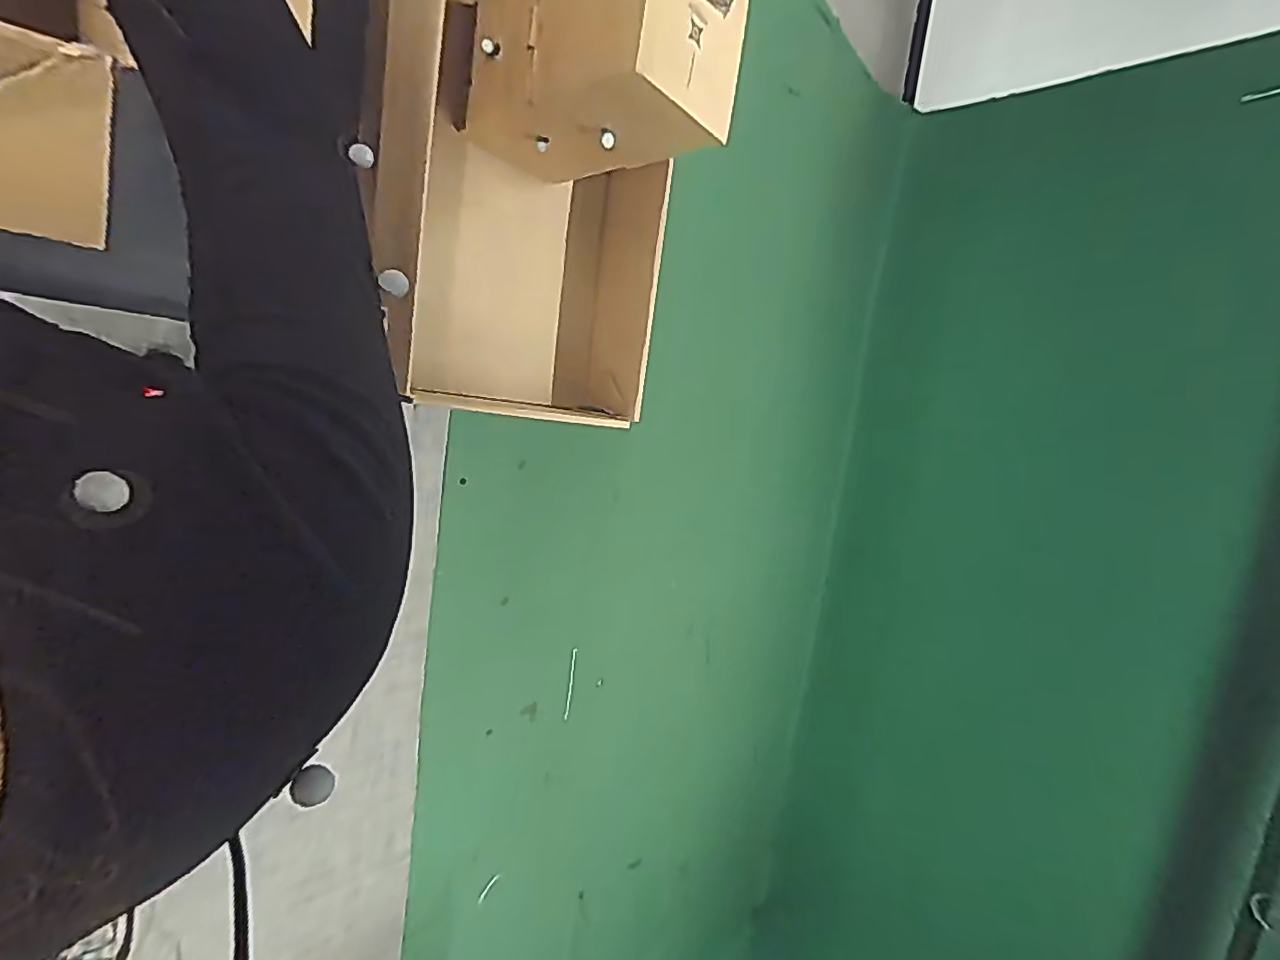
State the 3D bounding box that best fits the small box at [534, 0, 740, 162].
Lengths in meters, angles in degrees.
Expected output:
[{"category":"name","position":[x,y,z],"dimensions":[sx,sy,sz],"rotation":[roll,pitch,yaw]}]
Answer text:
[{"category":"small box","position":[-0.007,-0.511,0.639],"dimensions":[0.168,0.176,0.179],"rotation":[-1,103,-49]}]
